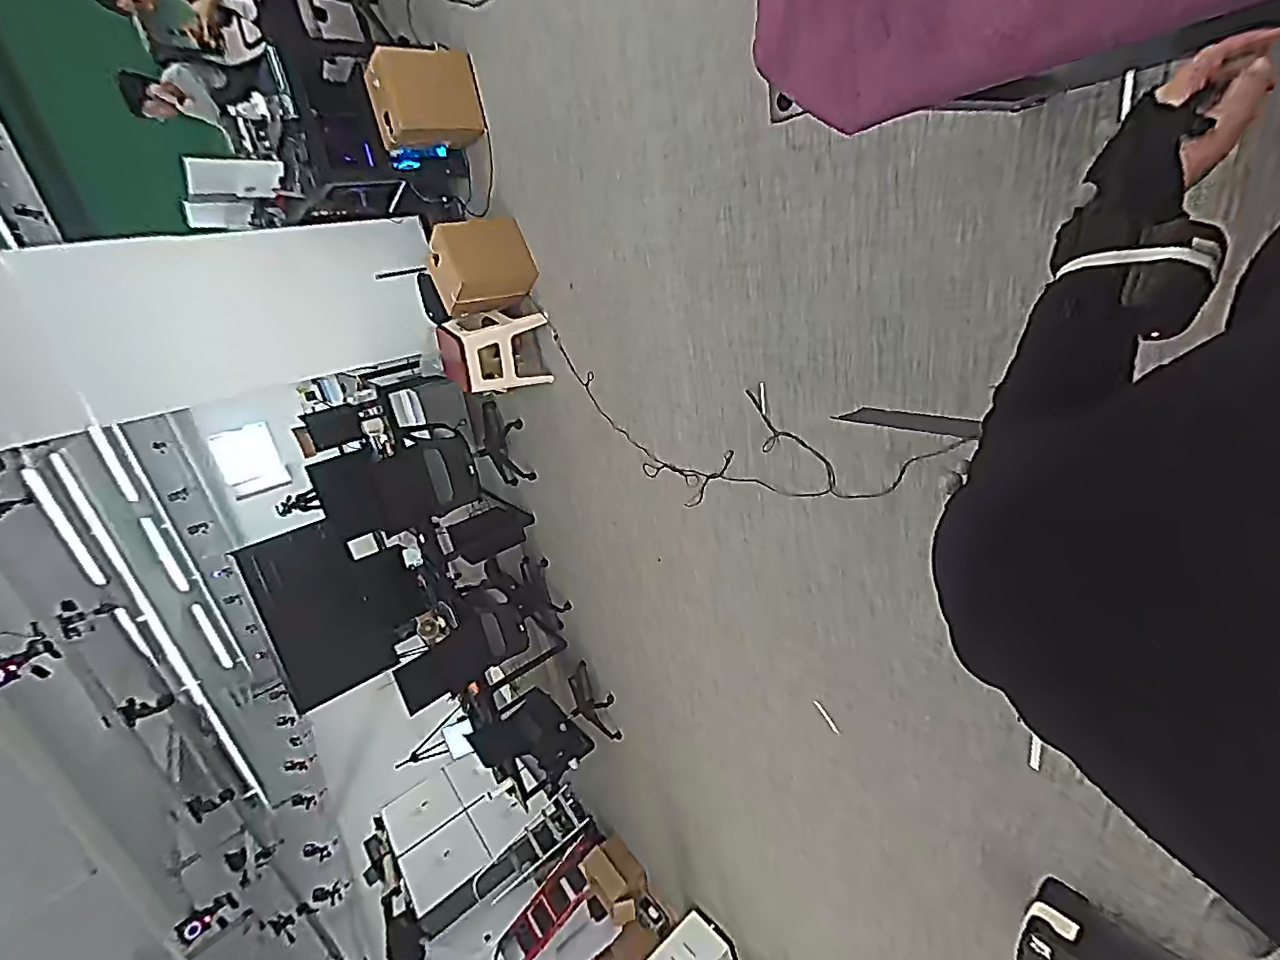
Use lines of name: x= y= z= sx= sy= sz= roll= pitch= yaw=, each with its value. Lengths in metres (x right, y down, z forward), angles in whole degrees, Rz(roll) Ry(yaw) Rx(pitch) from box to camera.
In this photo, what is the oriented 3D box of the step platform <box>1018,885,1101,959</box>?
step platform: x=1.401 y=1.453 z=1.407 sx=0.684 sy=0.204 sz=0.286 roll=18 pitch=126 yaw=49
